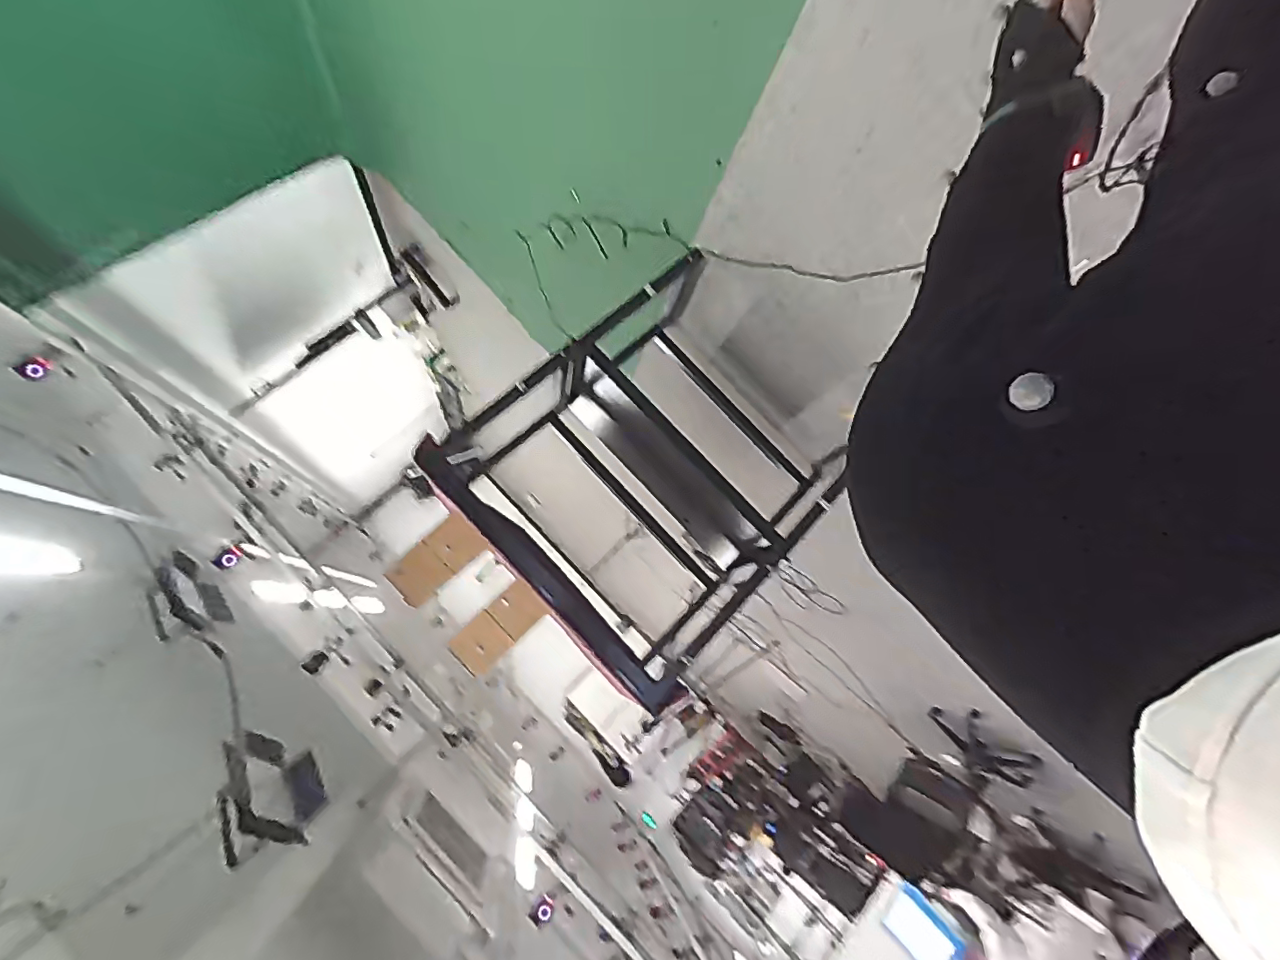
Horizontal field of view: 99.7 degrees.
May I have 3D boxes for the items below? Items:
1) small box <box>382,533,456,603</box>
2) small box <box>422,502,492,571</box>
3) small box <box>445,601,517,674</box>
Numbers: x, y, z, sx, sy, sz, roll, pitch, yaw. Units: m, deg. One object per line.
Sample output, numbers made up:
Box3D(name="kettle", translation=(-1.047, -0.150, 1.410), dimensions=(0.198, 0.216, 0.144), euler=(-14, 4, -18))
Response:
Box3D(name="small box", translation=(-0.763, 0.310, 1.896), dimensions=(0.179, 0.176, 0.168), euler=(47, 160, -1))
Box3D(name="small box", translation=(-0.652, 0.205, 1.949), dimensions=(0.179, 0.176, 0.168), euler=(47, 160, 0))
Box3D(name="small box", translation=(-0.547, 0.543, 1.886), dimensions=(0.179, 0.176, 0.168), euler=(47, 162, 1))
